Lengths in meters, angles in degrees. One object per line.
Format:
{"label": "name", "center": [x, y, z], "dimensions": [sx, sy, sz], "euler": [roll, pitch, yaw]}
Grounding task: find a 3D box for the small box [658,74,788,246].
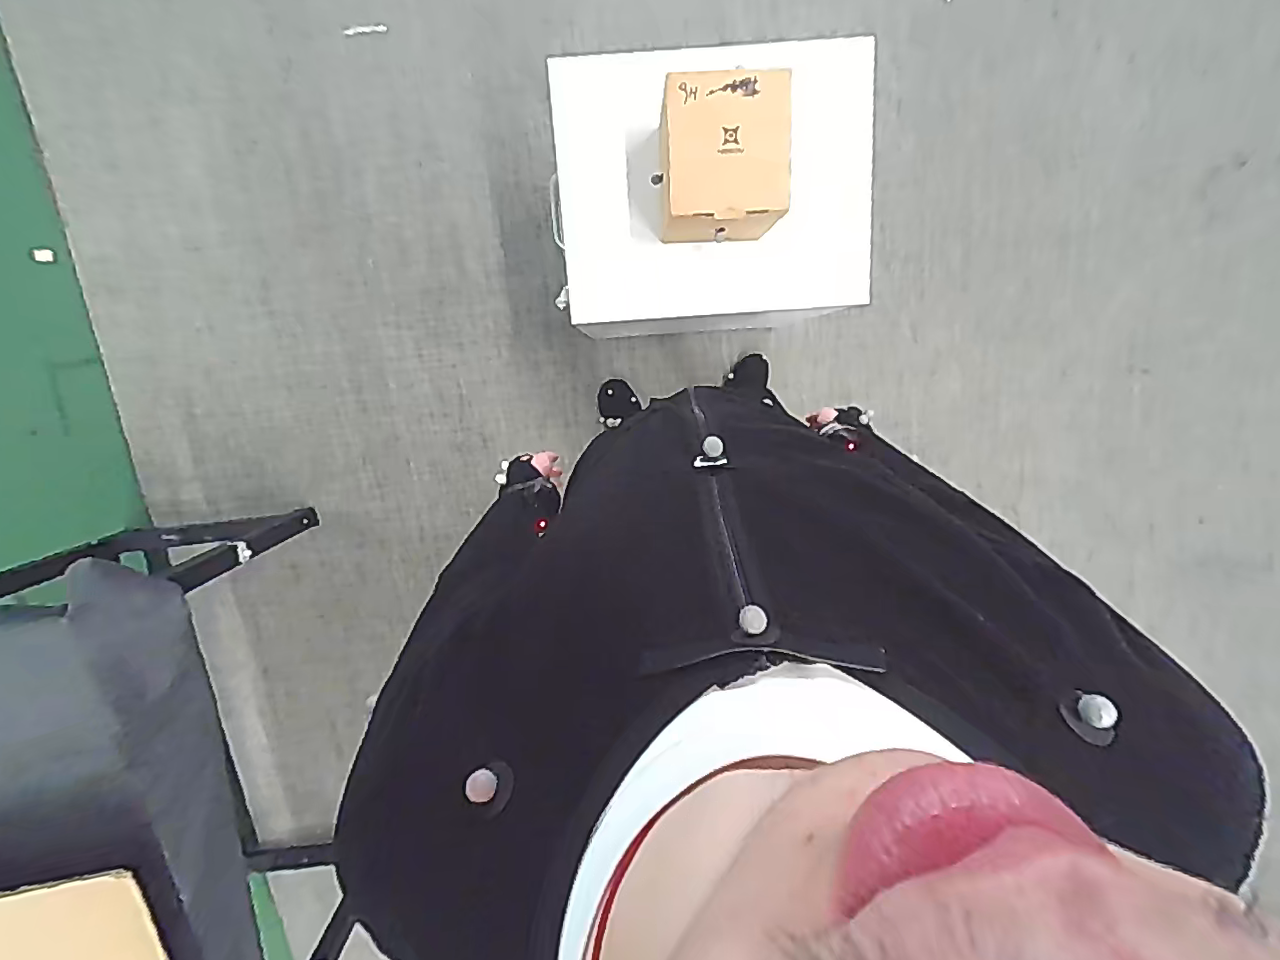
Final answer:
{"label": "small box", "center": [0.116, -0.455, 0.800], "dimensions": [0.168, 0.176, 0.179], "euler": [-5, 101, 0]}
